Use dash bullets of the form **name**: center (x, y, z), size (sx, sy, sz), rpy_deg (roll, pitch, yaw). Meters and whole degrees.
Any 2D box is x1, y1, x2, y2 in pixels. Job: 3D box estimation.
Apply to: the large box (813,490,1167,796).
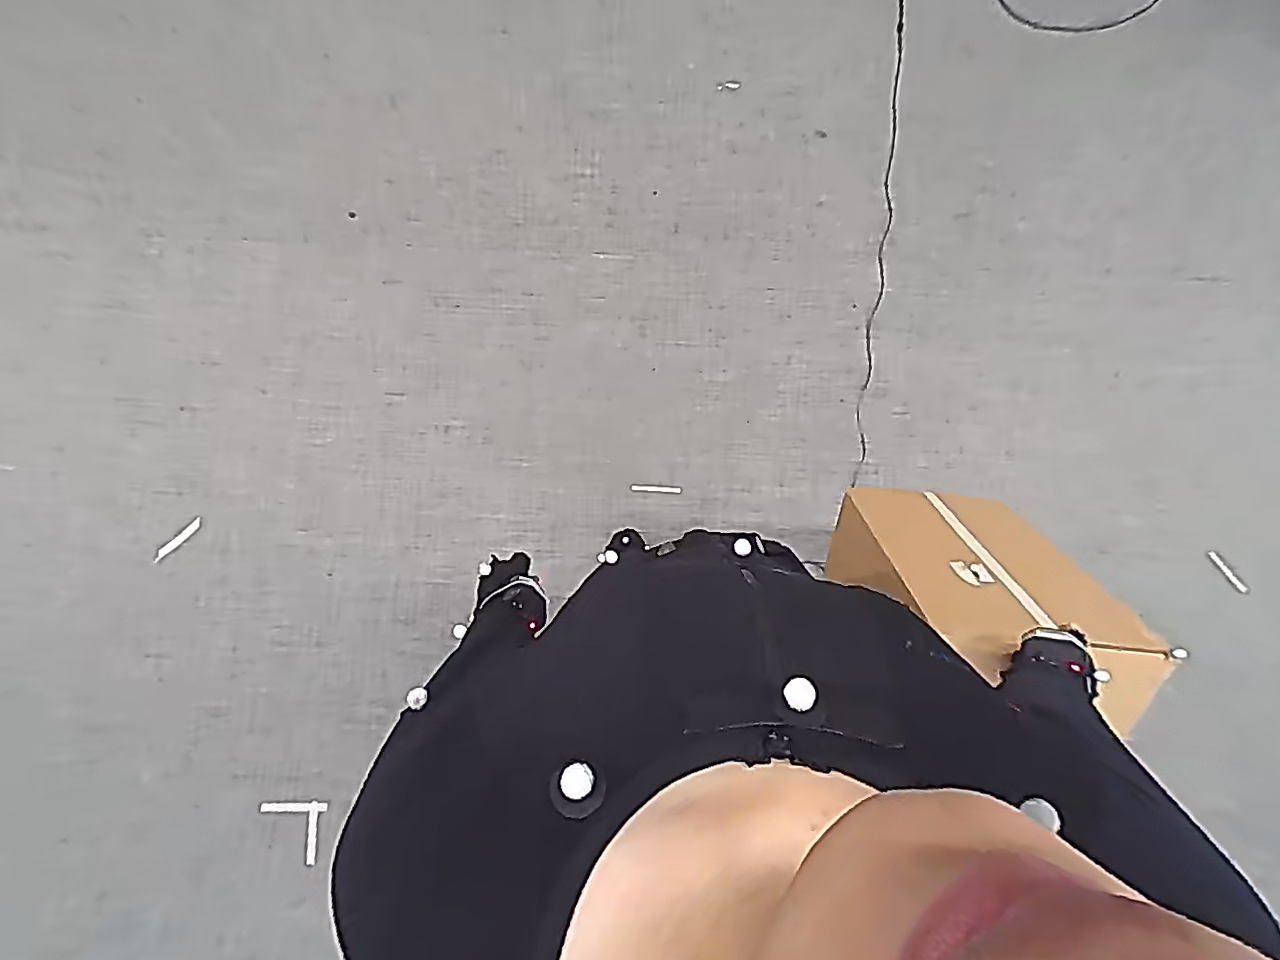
- **large box**: center (0.534, 0.258, 0.949), size (0.320, 0.408, 0.320), rpy_deg (5, 119, 1)
